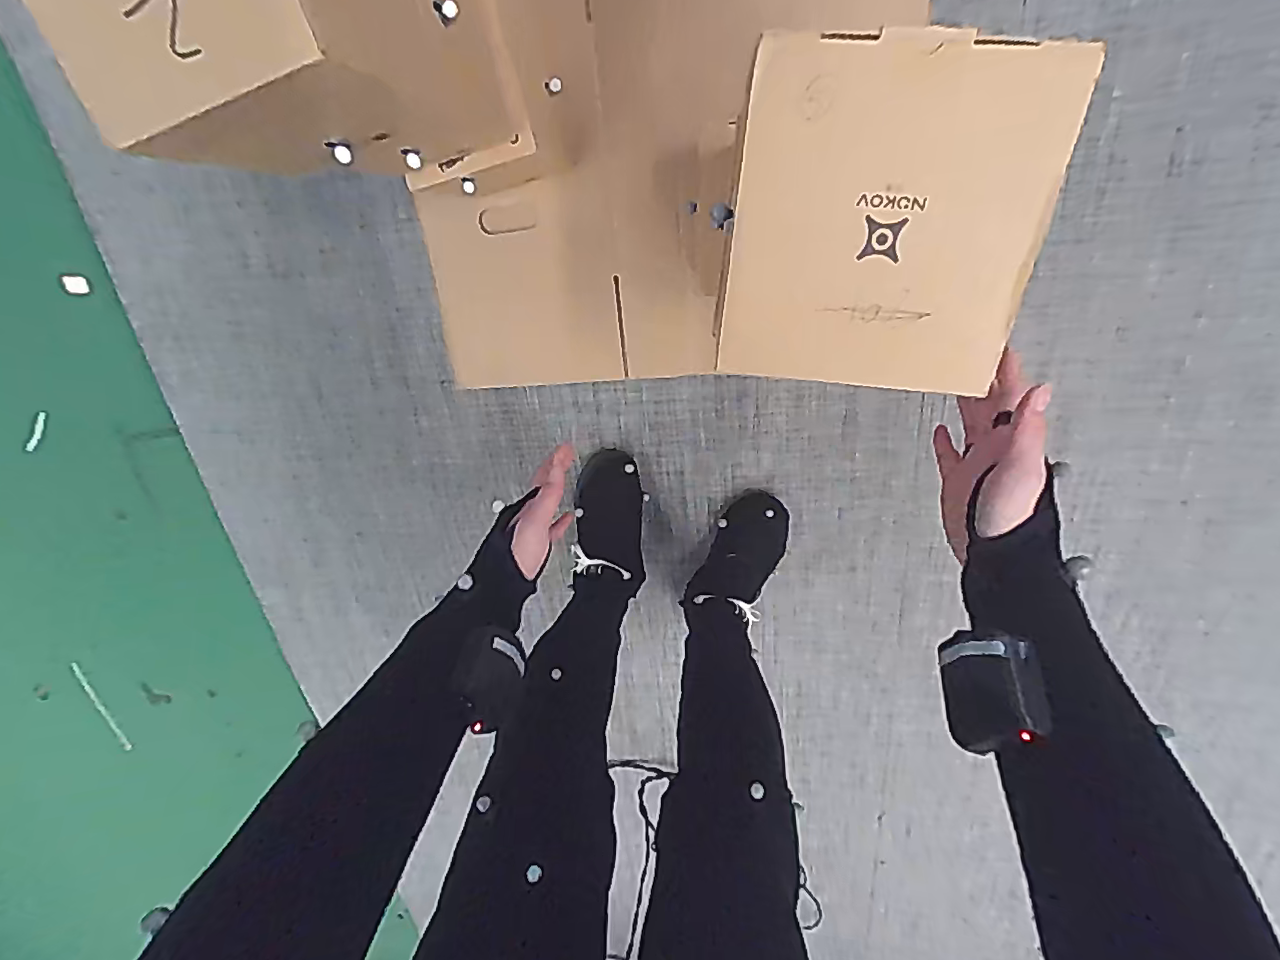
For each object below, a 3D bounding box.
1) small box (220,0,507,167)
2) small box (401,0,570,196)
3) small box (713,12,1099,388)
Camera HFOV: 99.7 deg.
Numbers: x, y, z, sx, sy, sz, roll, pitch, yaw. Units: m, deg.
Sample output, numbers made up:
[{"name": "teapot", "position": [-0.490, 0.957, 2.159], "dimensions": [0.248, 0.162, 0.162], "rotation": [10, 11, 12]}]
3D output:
[{"name": "small box", "position": [-0.246, -0.410, 0.506], "dimensions": [0.168, 0.176, 0.179], "rotation": [-9, 112, 12]}, {"name": "small box", "position": [-0.200, -0.465, 0.657], "dimensions": [0.168, 0.176, 0.179], "rotation": [-9, 112, 13]}, {"name": "small box", "position": [0.141, -0.175, 0.367], "dimensions": [0.168, 0.176, 0.179], "rotation": [7, 115, 6]}]
